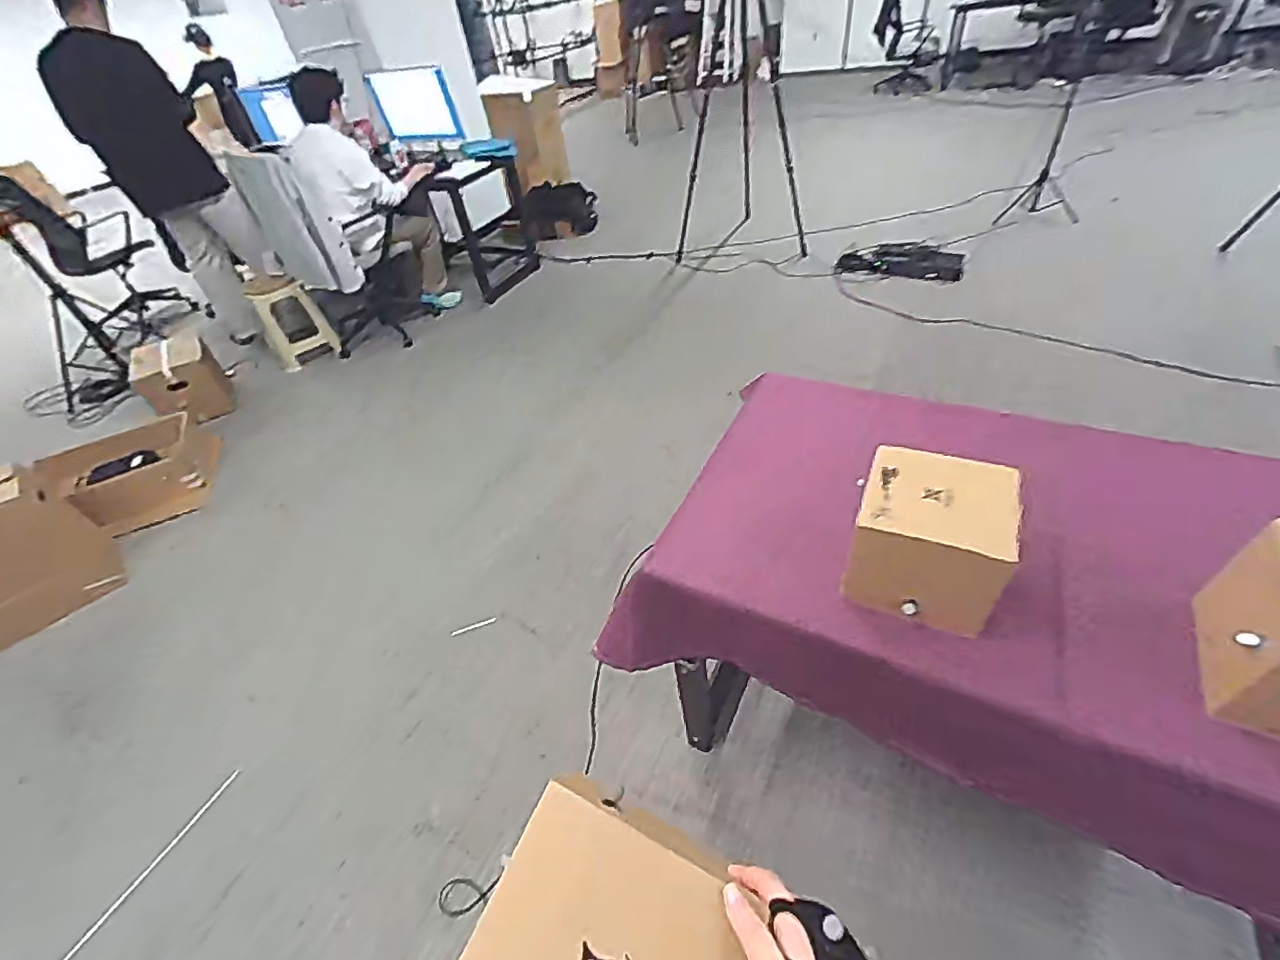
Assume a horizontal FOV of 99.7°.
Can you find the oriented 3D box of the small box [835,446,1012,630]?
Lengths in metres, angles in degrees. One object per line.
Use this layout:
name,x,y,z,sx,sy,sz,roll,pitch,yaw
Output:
small box,0.386,0.083,0.752,0.179,0.176,0.168,15,48,23
